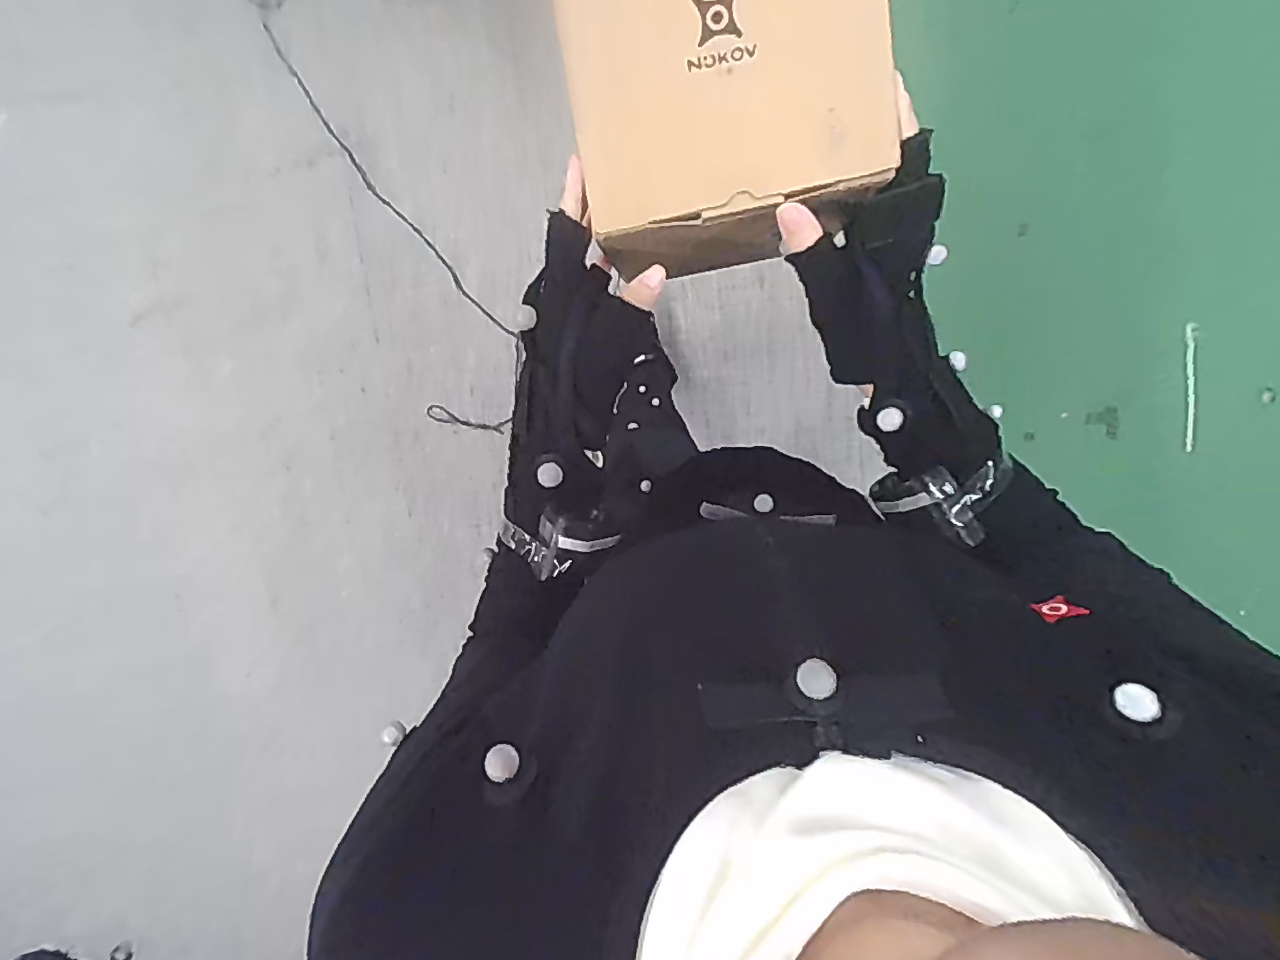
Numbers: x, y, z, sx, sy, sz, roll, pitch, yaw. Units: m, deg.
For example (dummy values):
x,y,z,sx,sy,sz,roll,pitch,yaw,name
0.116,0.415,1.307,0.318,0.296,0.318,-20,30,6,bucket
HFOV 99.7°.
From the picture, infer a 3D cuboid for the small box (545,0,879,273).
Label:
x,y,z,sx,sy,sz,roll,pitch,yaw,name
0.043,-0.249,0.362,0.168,0.176,0.179,-9,99,7,small box
